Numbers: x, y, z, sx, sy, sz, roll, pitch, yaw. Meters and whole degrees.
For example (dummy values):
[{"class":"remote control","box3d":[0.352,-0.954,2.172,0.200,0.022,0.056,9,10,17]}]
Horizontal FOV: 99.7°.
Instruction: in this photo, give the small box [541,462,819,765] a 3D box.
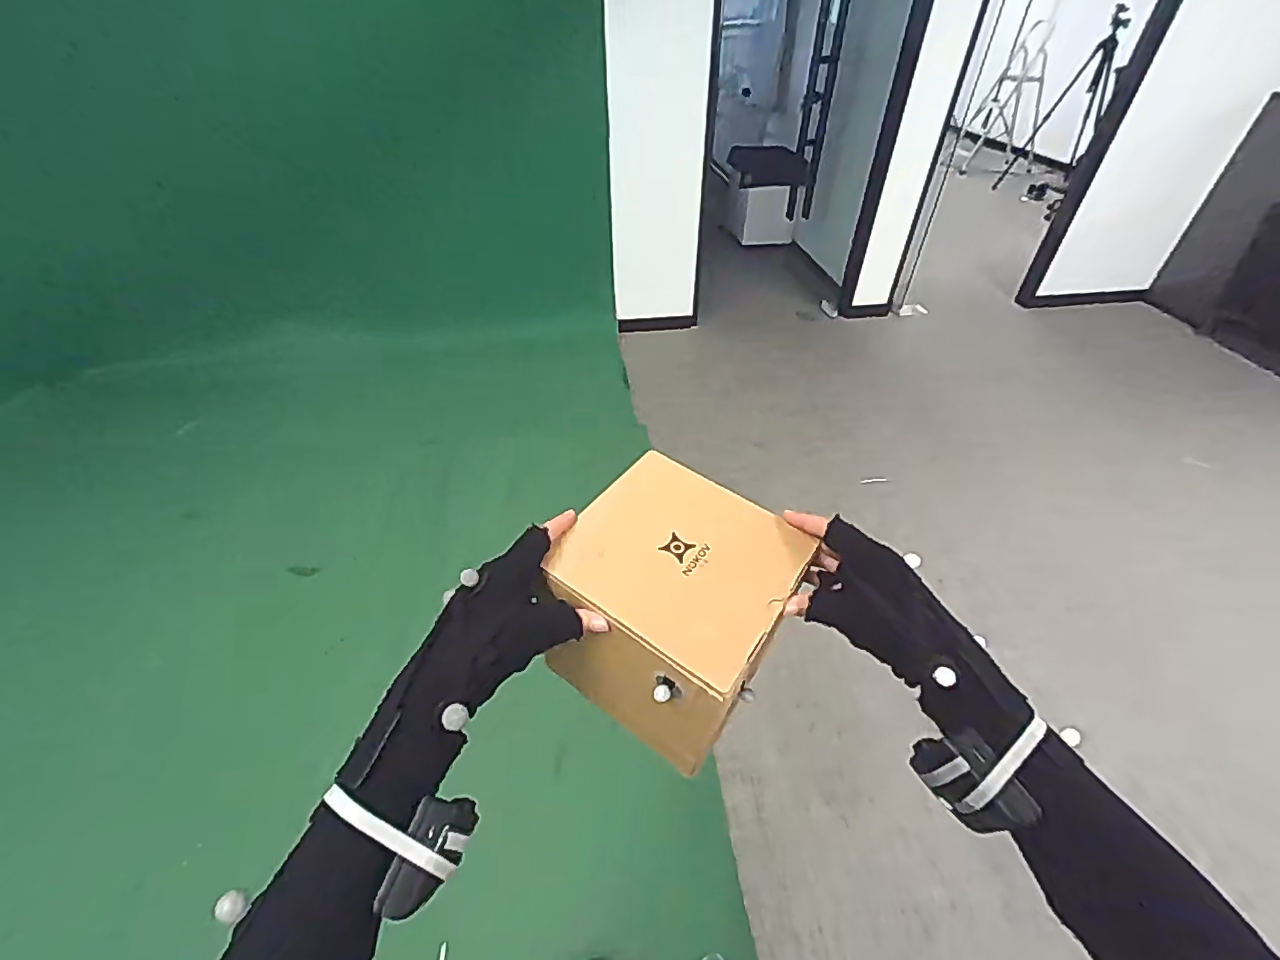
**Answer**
[{"class":"small box","box3d":[0.028,0.121,0.495,0.179,0.176,0.168,31,49,22]}]
